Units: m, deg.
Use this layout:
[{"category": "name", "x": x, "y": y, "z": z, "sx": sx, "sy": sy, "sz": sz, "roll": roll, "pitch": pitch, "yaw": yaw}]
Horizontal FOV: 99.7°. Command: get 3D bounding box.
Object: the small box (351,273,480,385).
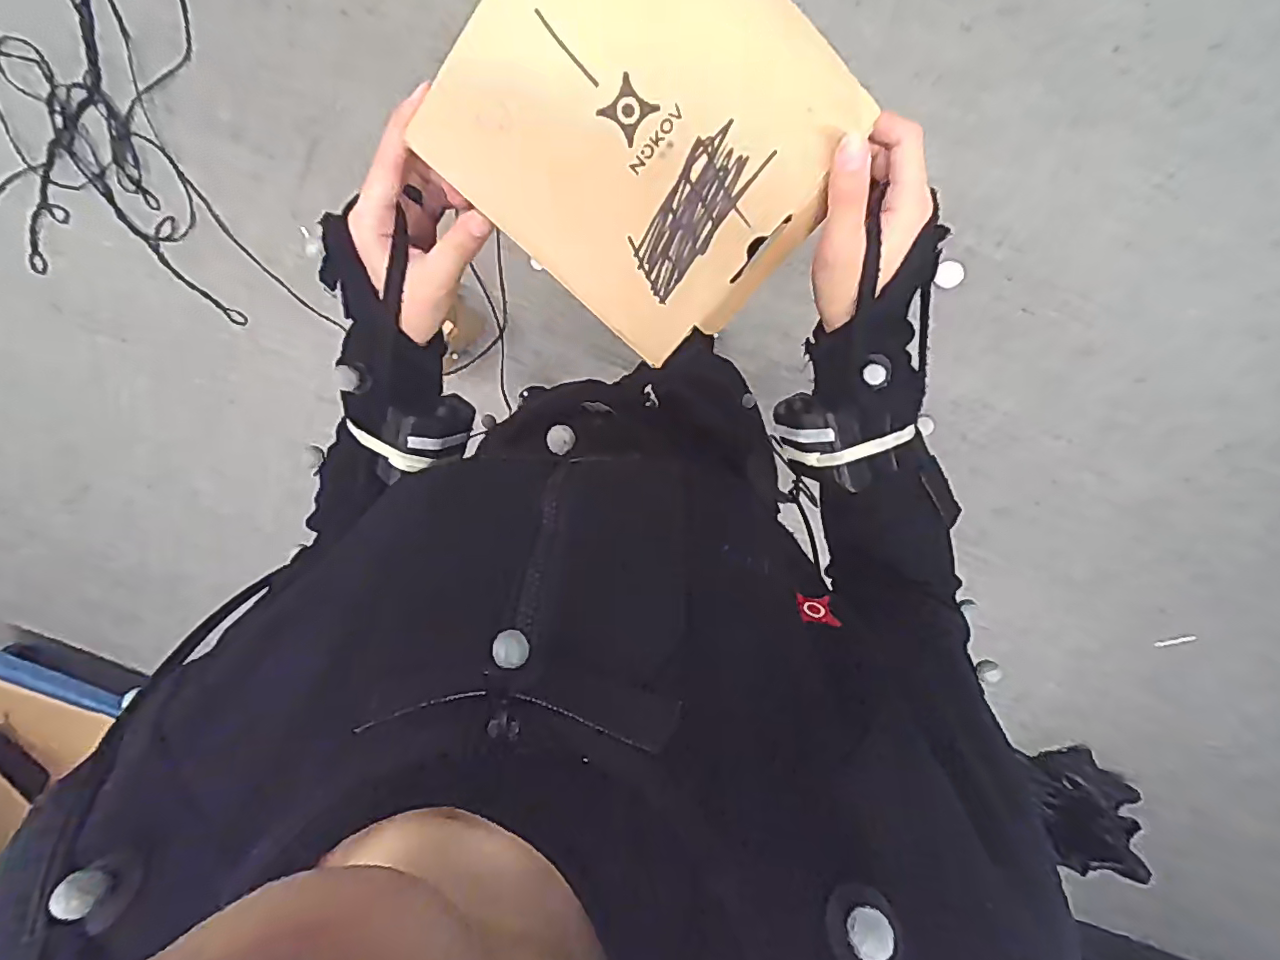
[{"category": "small box", "x": -0.495, "y": -0.345, "z": 1.223, "sx": 0.179, "sy": 0.176, "sz": 0.168, "roll": 43, "pitch": 107, "yaw": -10}]
